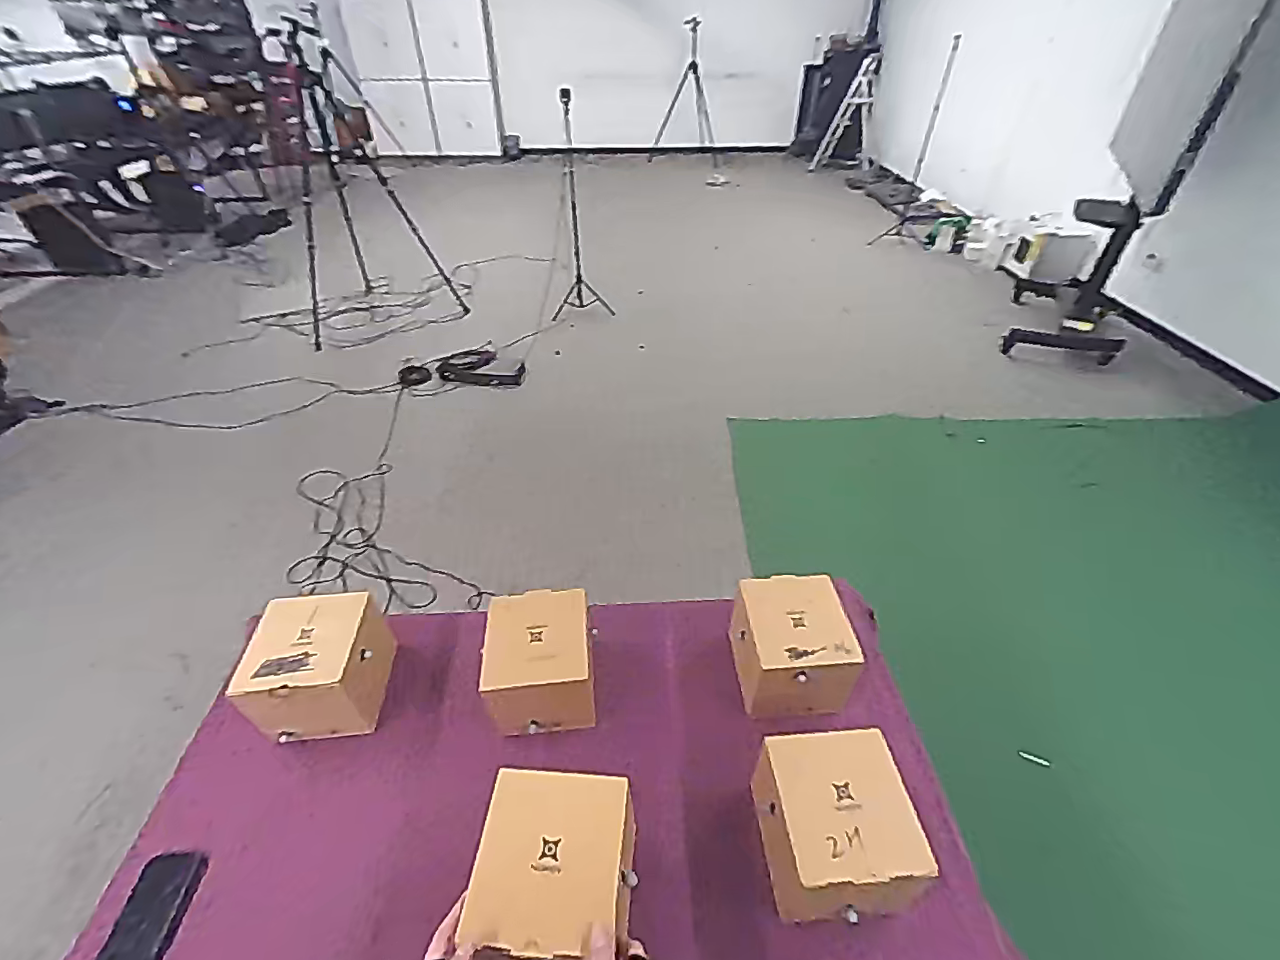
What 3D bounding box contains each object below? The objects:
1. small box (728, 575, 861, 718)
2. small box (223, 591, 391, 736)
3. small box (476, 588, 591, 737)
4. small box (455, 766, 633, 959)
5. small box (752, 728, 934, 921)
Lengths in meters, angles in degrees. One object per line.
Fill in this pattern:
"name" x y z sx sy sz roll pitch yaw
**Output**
"small box" 0.256 0.290 0.948 0.168 0.176 0.179 -3 40 -3
"small box" -0.543 0.313 0.914 0.168 0.176 0.179 -3 40 -5
"small box" -0.172 0.310 0.924 0.168 0.176 0.179 -4 41 -4
"small box" -0.099 0.477 0.655 0.168 0.176 0.179 2 42 5
"small box" 0.256 0.466 0.737 0.168 0.176 0.179 -3 40 -2
